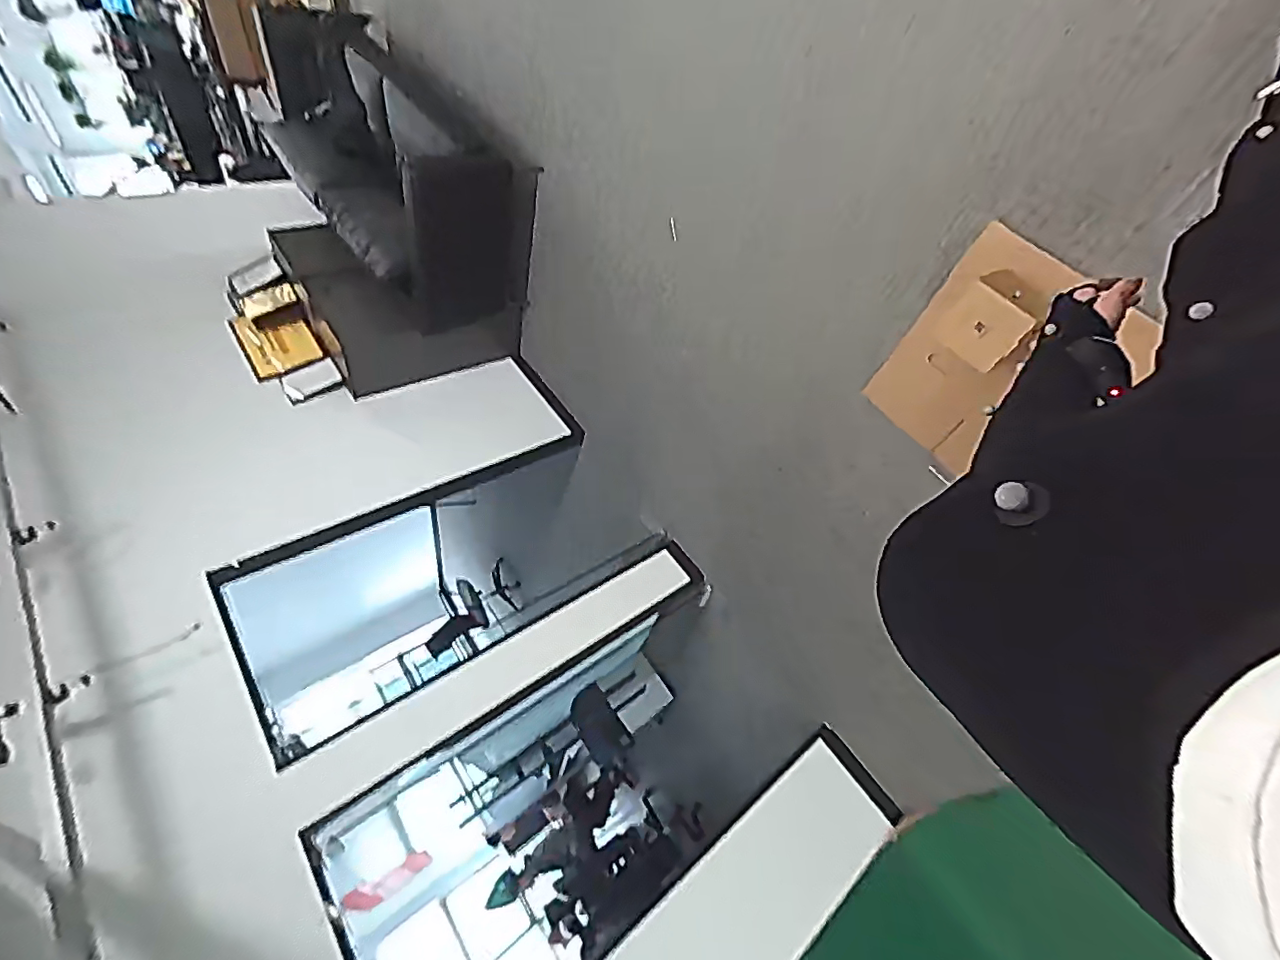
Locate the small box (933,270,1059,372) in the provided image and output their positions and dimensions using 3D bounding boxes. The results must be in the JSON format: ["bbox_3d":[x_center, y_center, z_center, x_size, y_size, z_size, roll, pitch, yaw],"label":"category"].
[{"bbox_3d":[0.898,-0.407,1.362,0.179,0.176,0.168,50,145,21],"label":"small box"}]
